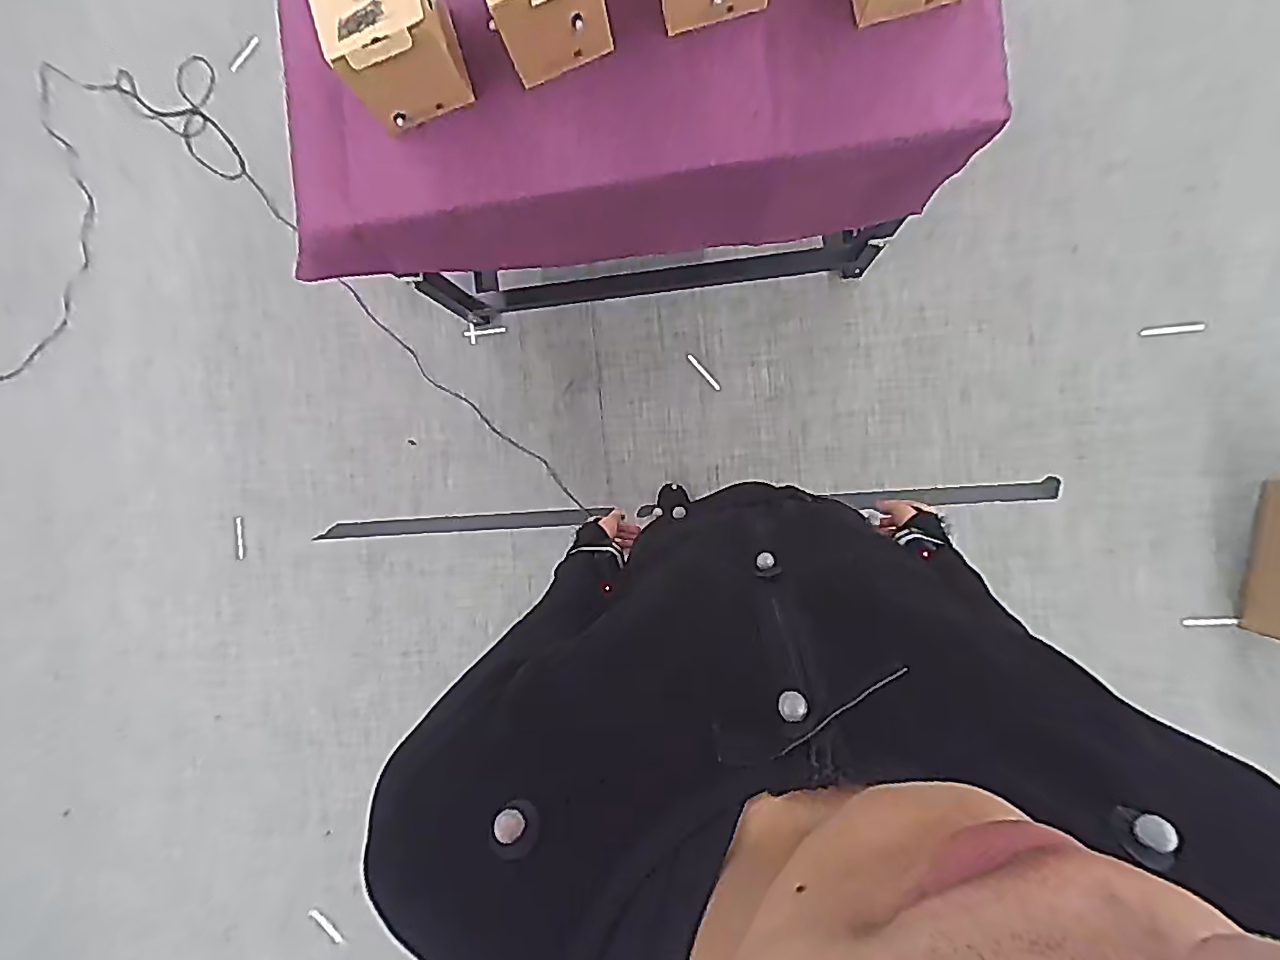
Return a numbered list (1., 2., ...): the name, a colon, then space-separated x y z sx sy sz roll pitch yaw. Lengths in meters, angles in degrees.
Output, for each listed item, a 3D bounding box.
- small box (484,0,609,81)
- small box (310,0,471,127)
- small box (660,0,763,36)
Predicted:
1. small box: -0.158 -0.779 0.853 0.168 0.176 0.179 -18 88 6
2. small box: -0.400 -0.717 0.880 0.168 0.176 0.179 -17 88 6
3. small box: 0.099 -0.839 0.819 0.168 0.176 0.179 -10 89 7
